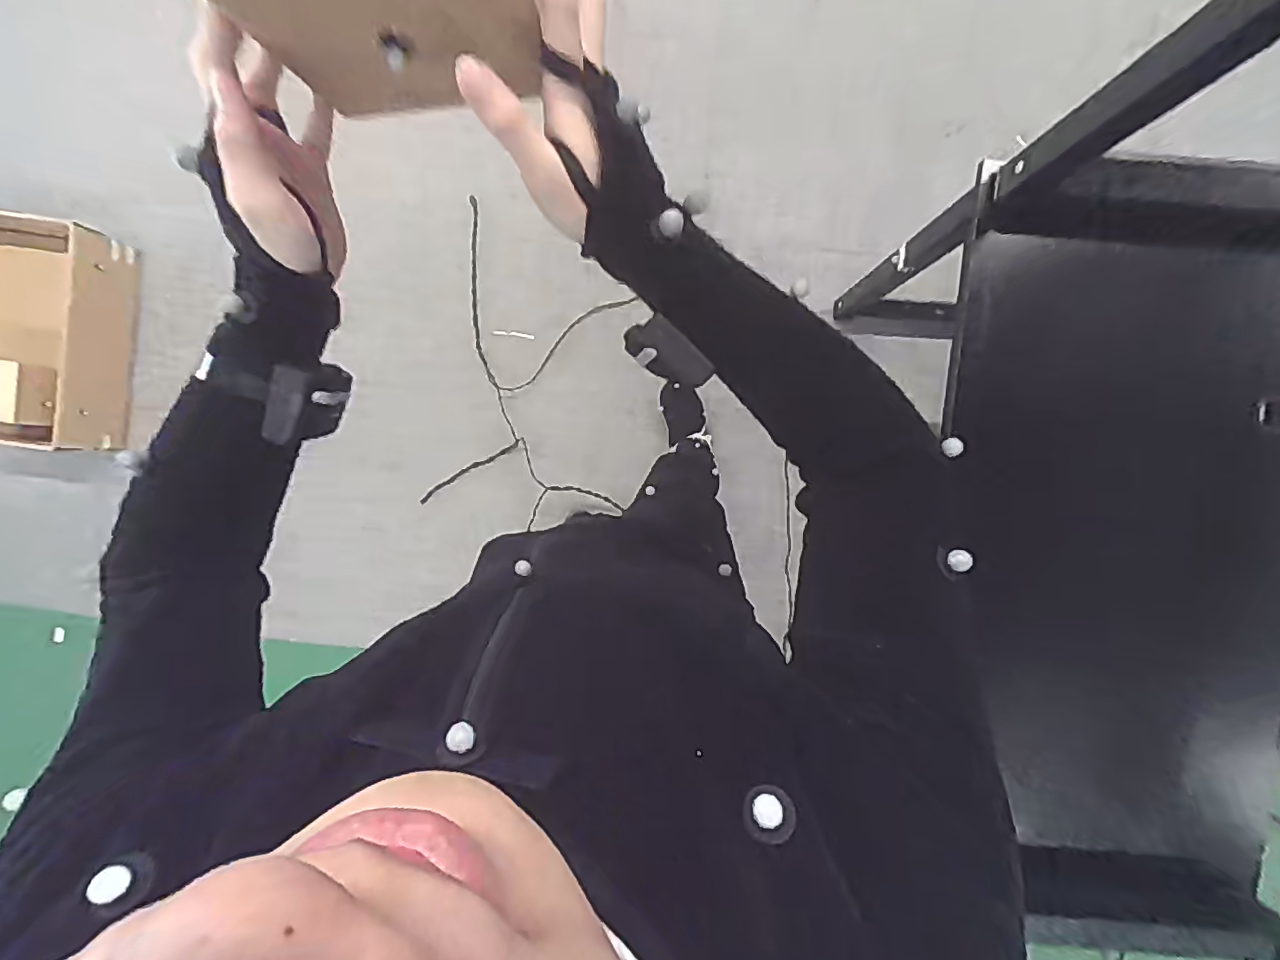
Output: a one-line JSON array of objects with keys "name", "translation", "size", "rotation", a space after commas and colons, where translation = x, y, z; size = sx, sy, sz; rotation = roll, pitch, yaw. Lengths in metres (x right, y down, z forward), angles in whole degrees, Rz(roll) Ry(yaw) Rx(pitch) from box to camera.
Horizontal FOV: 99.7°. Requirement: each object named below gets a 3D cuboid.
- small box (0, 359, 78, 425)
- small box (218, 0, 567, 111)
[{"name": "small box", "translation": [-1.722, -0.244, 1.493], "size": [0.179, 0.176, 0.168], "rotation": [8, 93, 2]}, {"name": "small box", "translation": [-0.140, -0.341, 0.307], "size": [0.168, 0.176, 0.179], "rotation": [-4, 98, 2]}]
